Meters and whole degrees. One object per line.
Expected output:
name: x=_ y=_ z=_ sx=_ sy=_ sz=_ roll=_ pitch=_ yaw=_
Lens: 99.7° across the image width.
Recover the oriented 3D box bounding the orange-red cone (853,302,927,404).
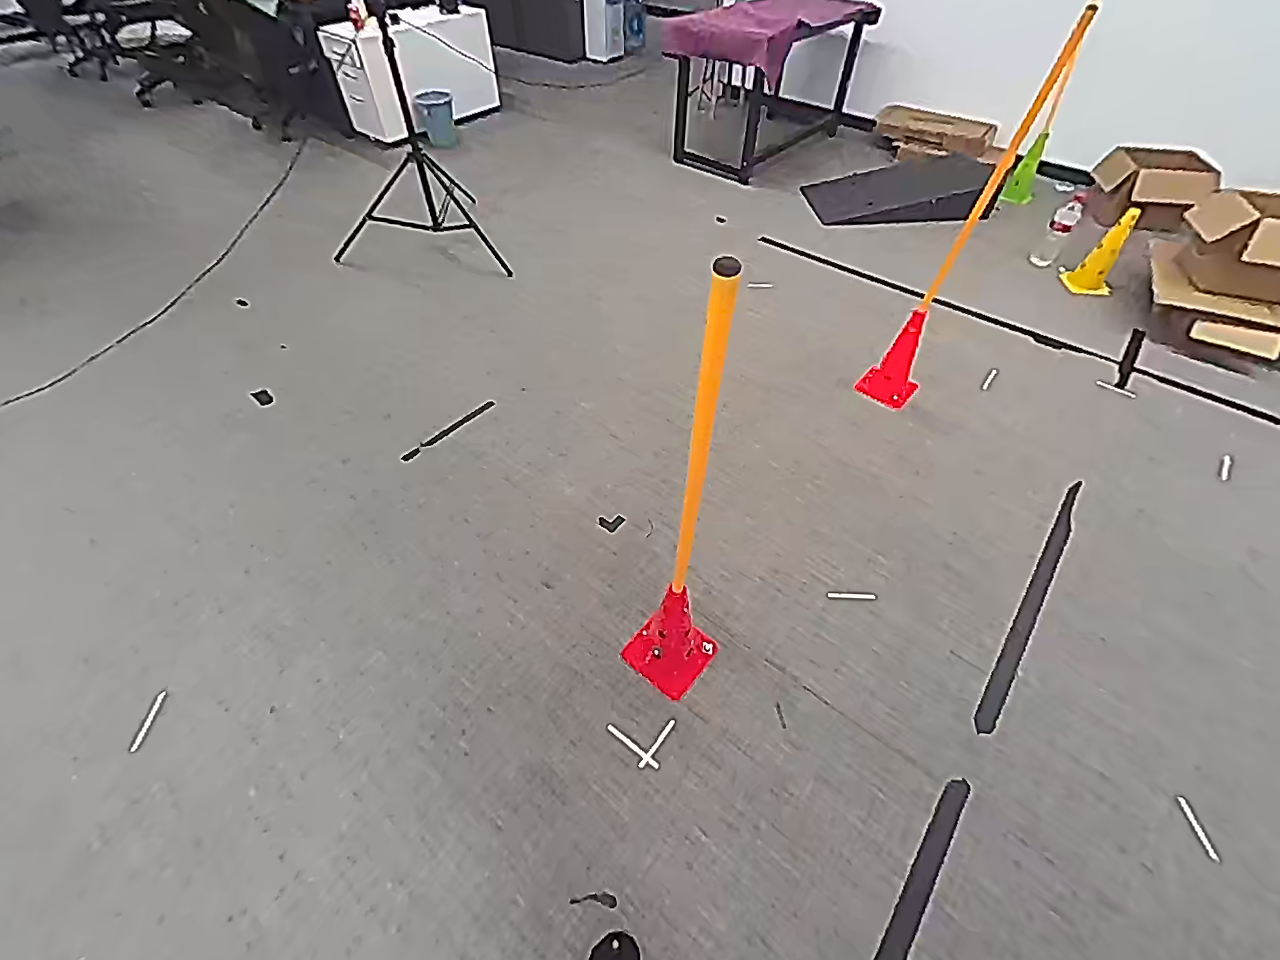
orange-red cone: x=0.975 y=-0.497 z=2.012 sx=0.198 sy=0.360 sz=0.199 roll=35 pitch=58 yaw=25
